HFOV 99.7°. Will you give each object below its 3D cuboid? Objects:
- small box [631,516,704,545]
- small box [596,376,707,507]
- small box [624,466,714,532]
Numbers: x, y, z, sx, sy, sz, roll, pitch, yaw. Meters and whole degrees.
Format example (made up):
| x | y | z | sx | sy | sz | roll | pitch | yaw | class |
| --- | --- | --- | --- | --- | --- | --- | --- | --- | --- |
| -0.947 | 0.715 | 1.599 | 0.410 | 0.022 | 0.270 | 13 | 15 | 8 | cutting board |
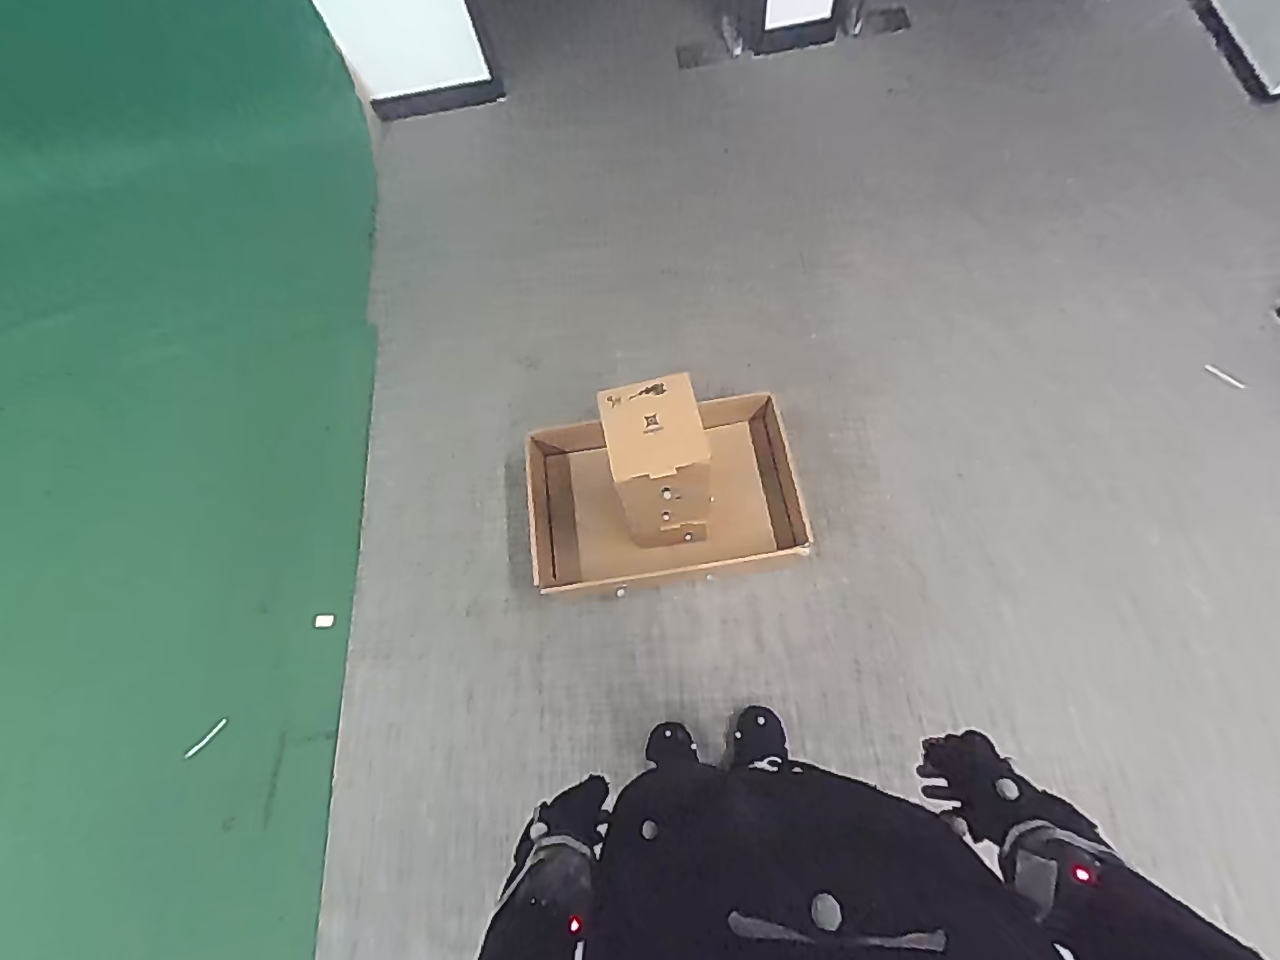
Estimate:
| x | y | z | sx | sy | sz | roll | pitch | yaw | class |
| --- | --- | --- | --- | --- | --- | --- | --- | --- | --- |
| 0.062 | 0.052 | 1.294 | 0.168 | 0.176 | 0.179 | -8 | 68 | 3 | small box |
| 0.026 | -0.059 | 0.989 | 0.168 | 0.176 | 0.179 | -12 | 70 | 2 | small box |
| 0.048 | -0.002 | 1.141 | 0.179 | 0.176 | 0.168 | -13 | 70 | 0 | small box |
